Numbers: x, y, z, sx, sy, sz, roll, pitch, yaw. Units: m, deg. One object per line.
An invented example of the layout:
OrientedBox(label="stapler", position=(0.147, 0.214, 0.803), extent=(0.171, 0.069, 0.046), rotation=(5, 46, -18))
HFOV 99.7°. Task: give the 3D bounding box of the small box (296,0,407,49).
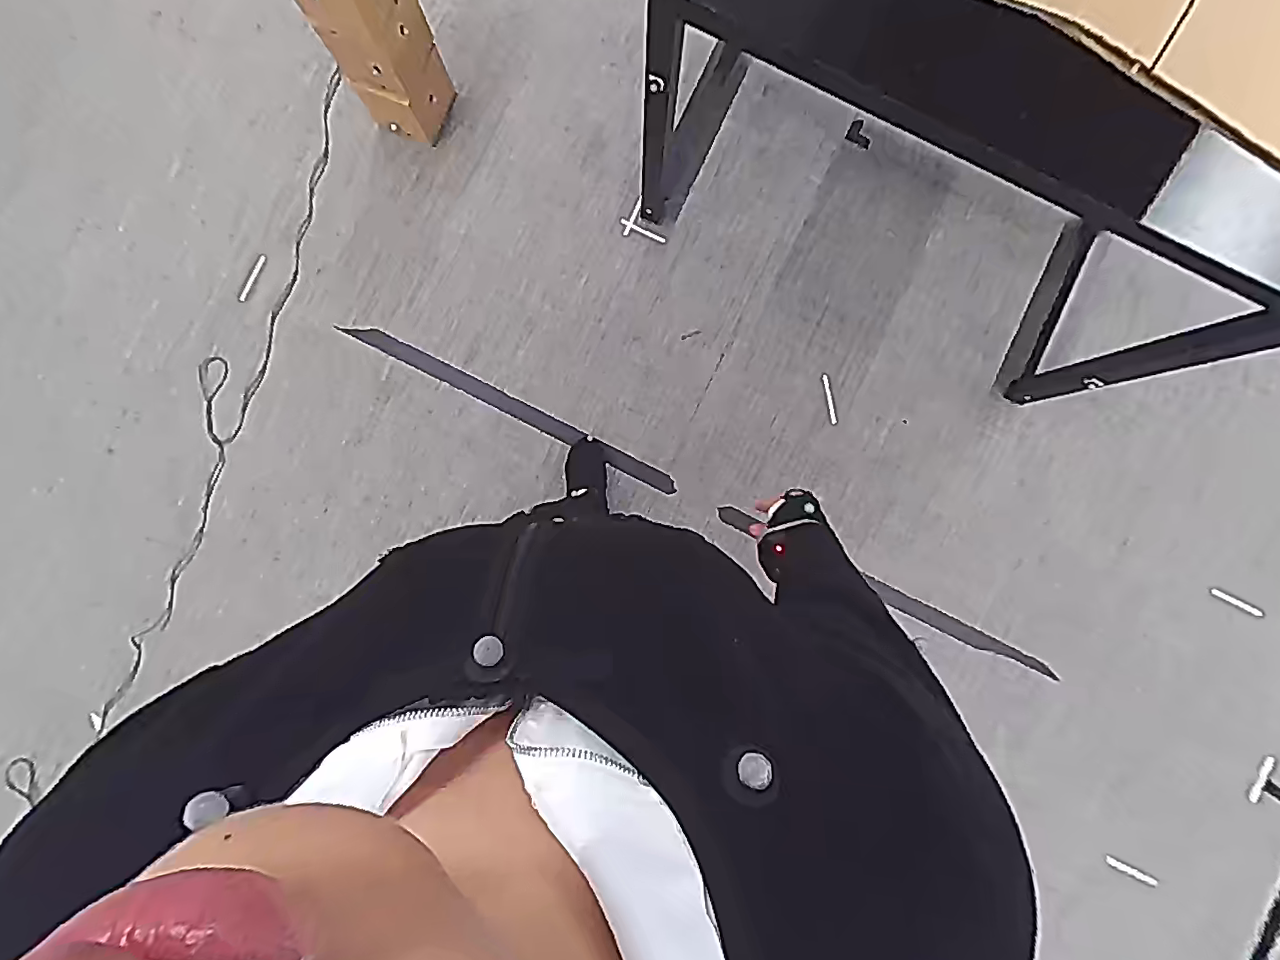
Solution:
OrientedBox(label="small box", position=(-0.613, -1.037, 1.102), extent=(0.179, 0.176, 0.168), rotation=(22, 88, -1))

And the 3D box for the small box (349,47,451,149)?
OrientedBox(label="small box", position=(-0.622, -1.028, 1.427), extent=(0.168, 0.176, 0.179), rotation=(22, 89, 0))

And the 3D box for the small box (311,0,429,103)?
OrientedBox(label="small box", position=(-0.619, -1.038, 1.265), extent=(0.168, 0.176, 0.179), rotation=(18, 87, -2))
